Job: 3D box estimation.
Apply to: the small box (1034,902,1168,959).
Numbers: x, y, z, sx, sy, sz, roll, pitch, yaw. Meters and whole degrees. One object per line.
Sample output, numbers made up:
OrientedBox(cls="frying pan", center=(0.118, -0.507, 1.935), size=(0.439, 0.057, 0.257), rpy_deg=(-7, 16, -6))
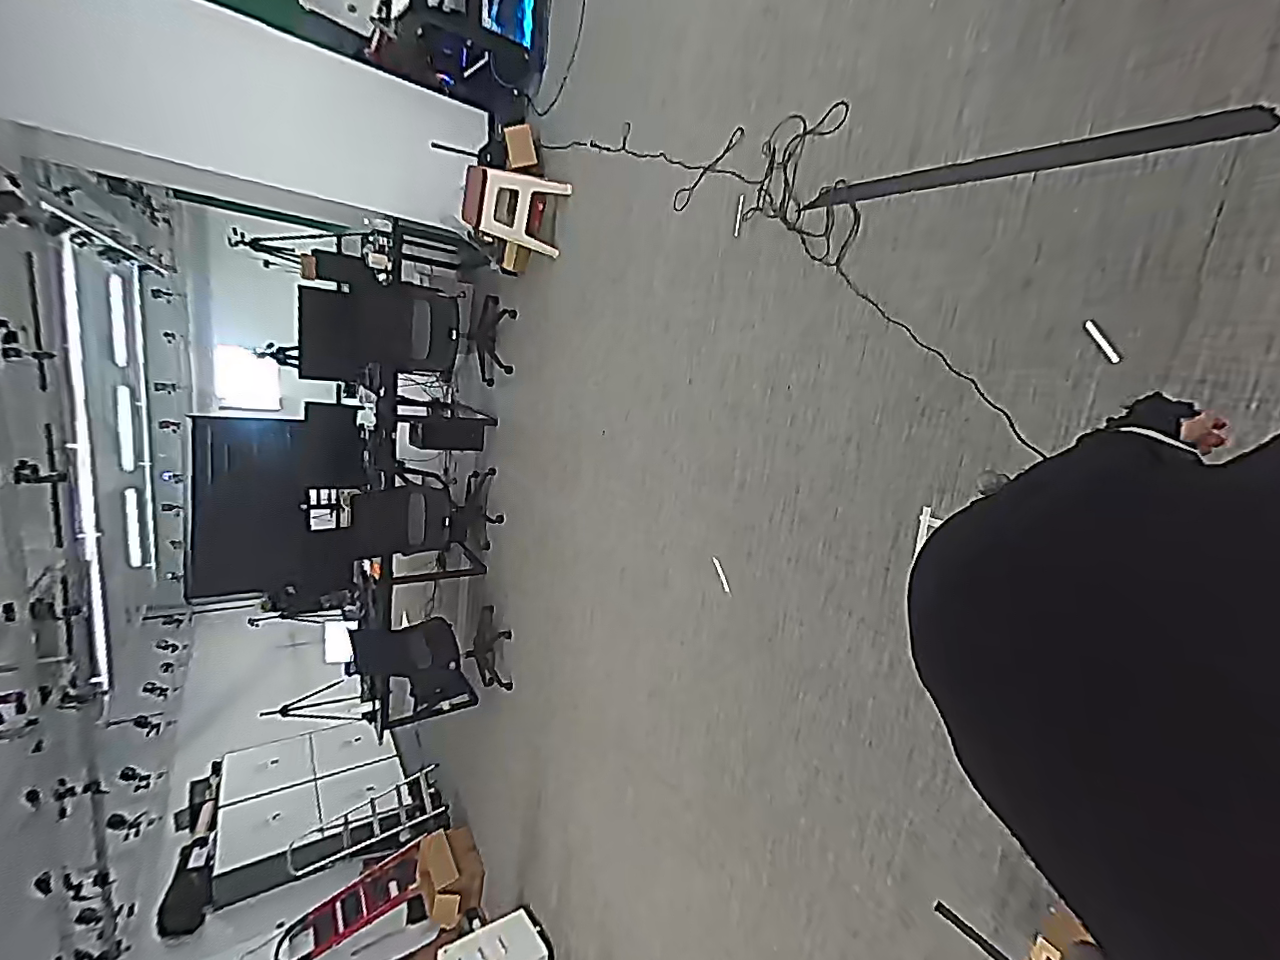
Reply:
OrientedBox(cls="small box", center=(0.928, 1.007, 1.093), size=(0.179, 0.176, 0.168), rpy_deg=(23, 110, 51))
